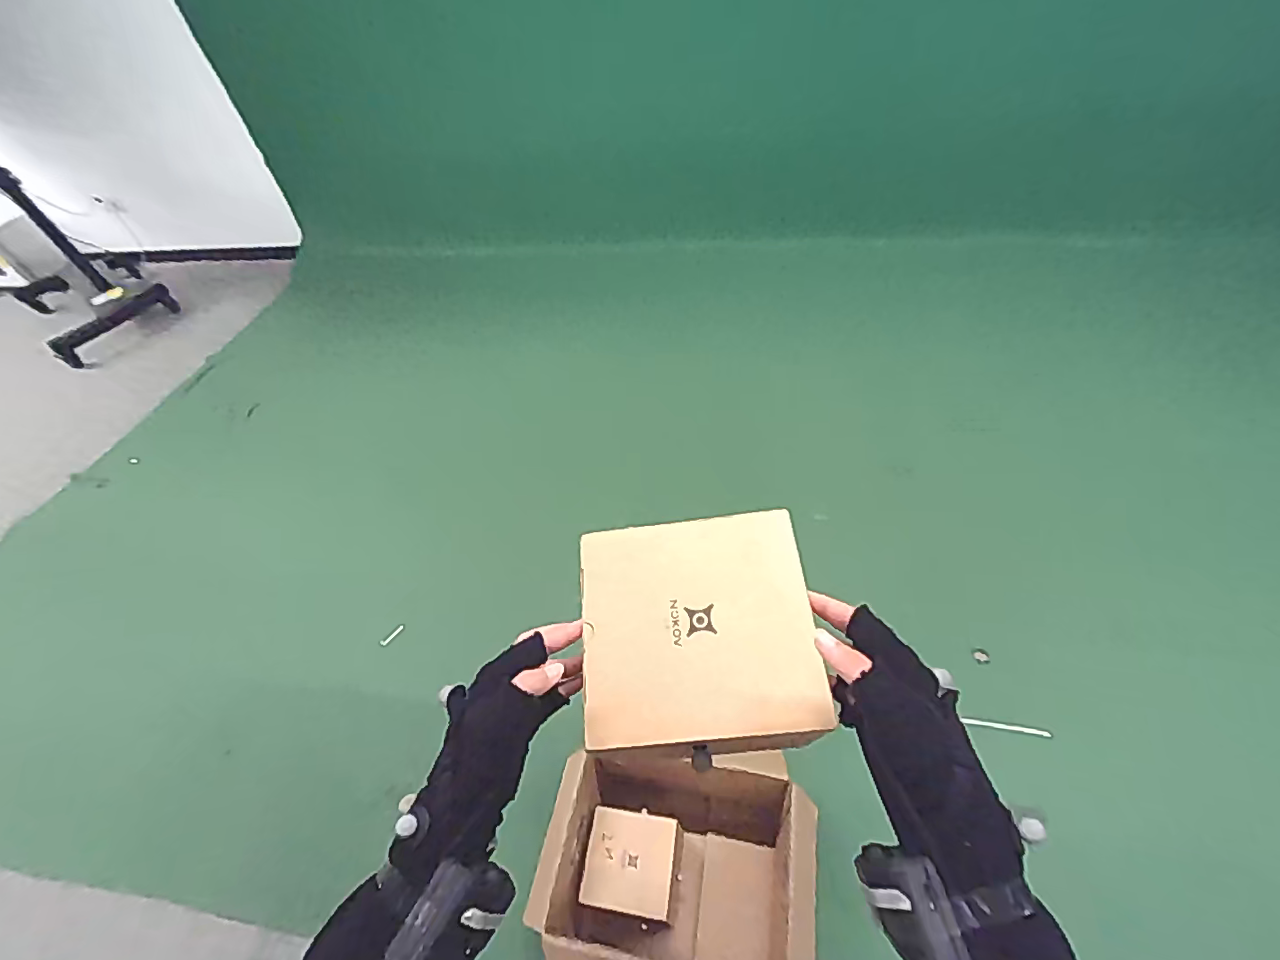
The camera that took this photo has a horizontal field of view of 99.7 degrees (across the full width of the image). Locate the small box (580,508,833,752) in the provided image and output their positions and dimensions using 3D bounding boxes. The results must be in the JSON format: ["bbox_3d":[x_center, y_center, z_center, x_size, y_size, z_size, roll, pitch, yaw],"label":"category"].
[{"bbox_3d":[0.051,0.141,0.477,0.179,0.176,0.168,-8,60,5],"label":"small box"}]
